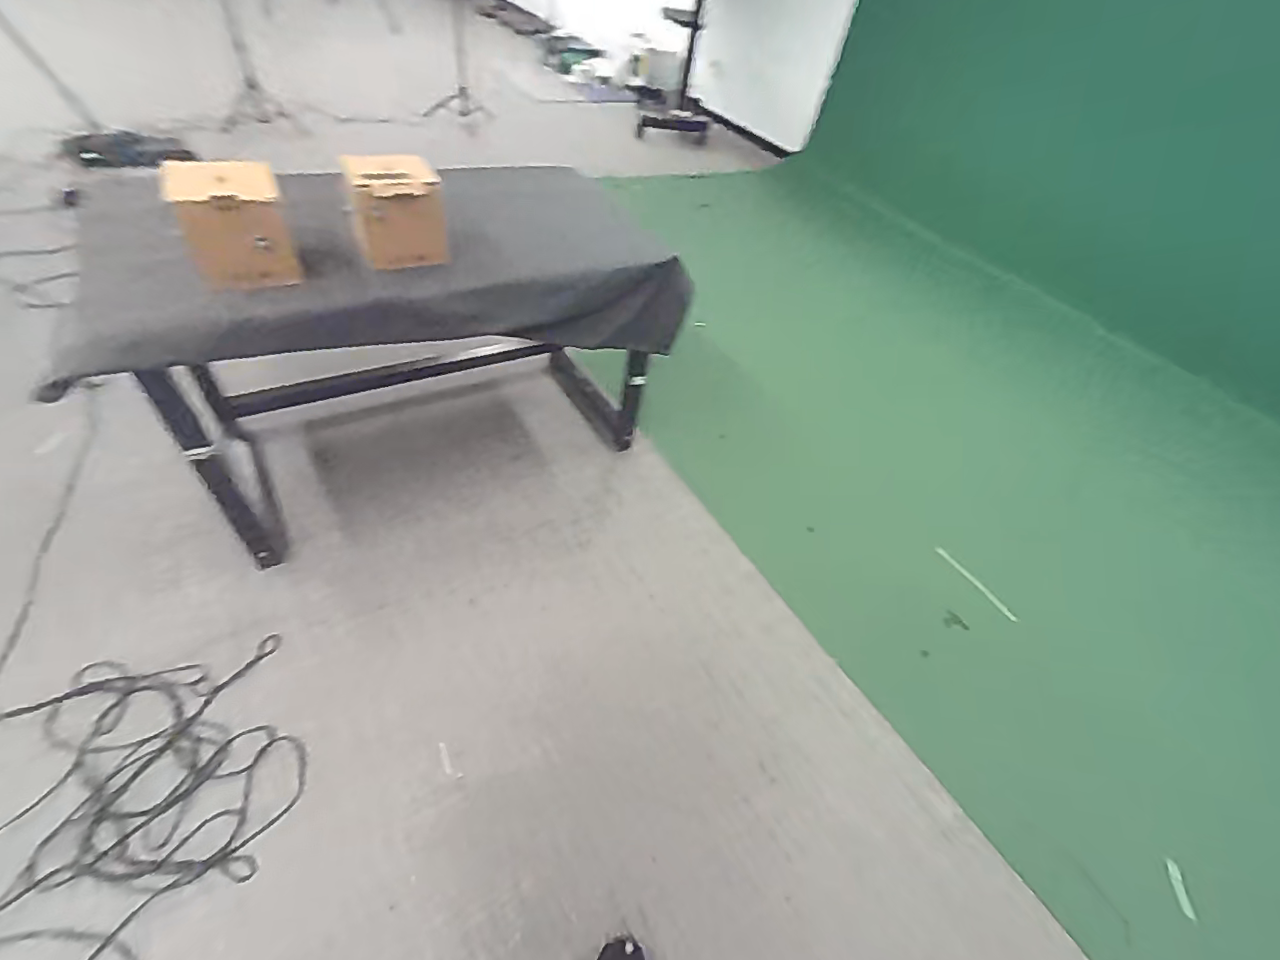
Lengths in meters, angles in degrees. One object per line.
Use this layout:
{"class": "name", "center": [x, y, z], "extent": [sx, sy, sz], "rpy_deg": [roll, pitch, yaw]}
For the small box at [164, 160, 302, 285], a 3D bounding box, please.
{"class": "small box", "center": [-0.761, -0.482, 1.021], "extent": [0.168, 0.176, 0.179], "rpy_deg": [-16, 51, -27]}
